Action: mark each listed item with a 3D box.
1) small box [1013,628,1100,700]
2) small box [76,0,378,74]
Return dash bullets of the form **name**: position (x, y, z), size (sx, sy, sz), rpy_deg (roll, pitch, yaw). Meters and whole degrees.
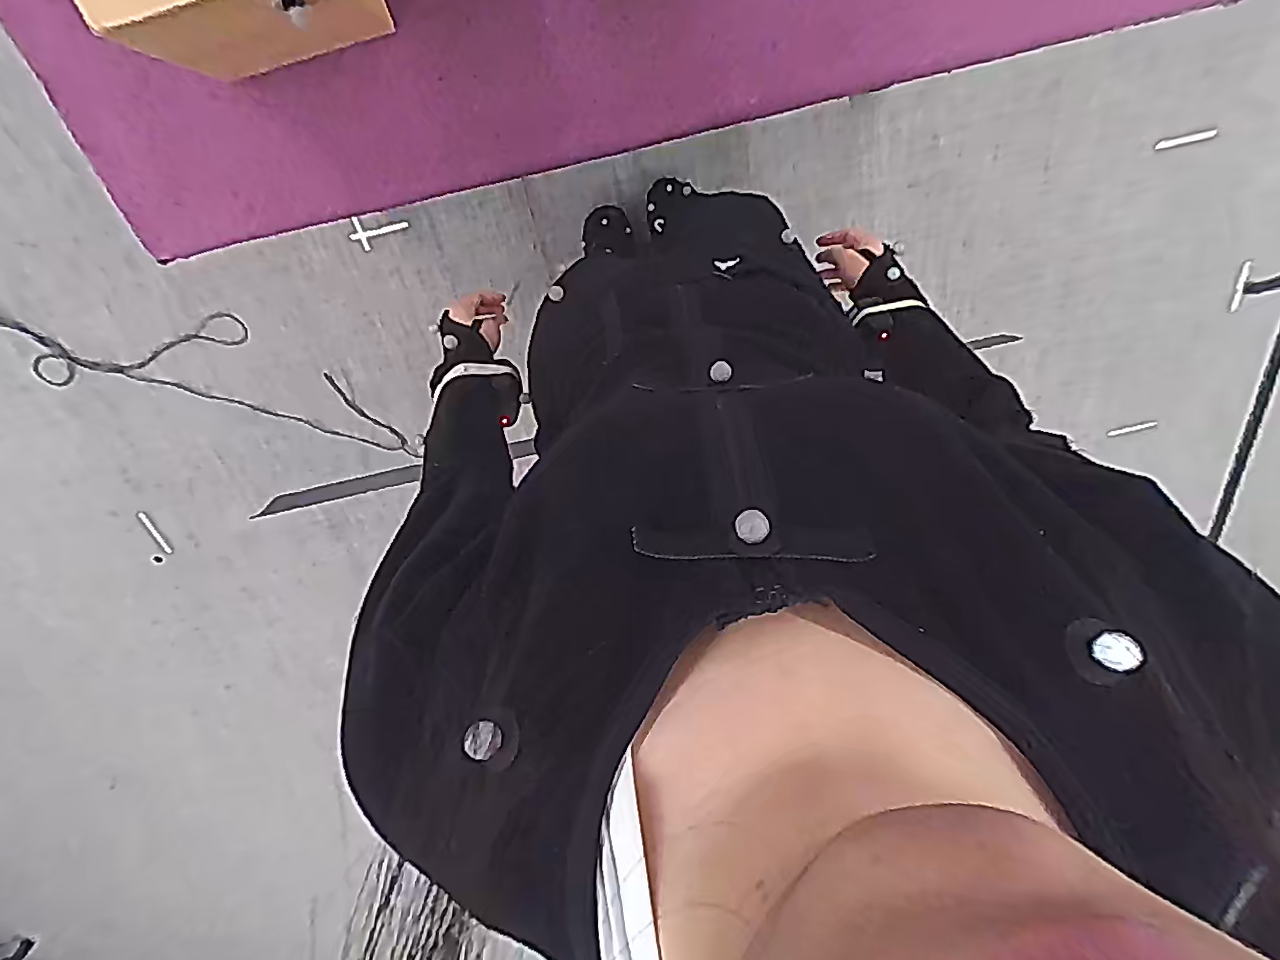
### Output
- **small box**: position (1.588, 0.699, 2.073), size (0.179, 0.176, 0.168), rpy_deg (35, 110, -23)
- **small box**: position (-0.326, -0.442, 0.409), size (0.179, 0.176, 0.168), rpy_deg (-16, 117, 2)
